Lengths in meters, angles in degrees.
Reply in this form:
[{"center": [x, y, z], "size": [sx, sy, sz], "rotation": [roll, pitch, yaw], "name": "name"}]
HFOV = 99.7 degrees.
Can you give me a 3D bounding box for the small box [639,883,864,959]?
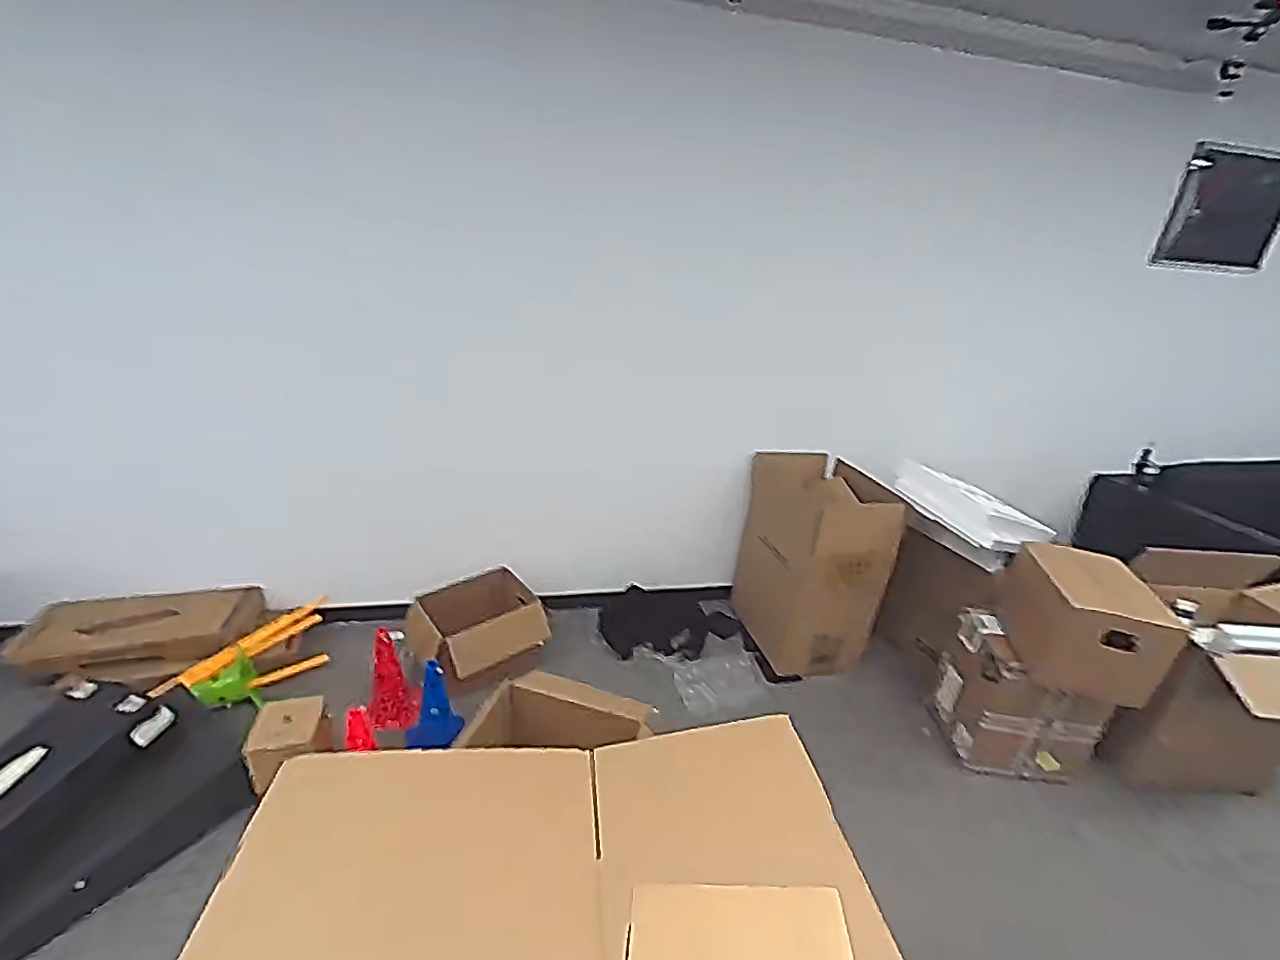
[{"center": [0.091, 0.457, 0.425], "size": [0.179, 0.176, 0.168], "rotation": [-5, 25, 8], "name": "small box"}]
